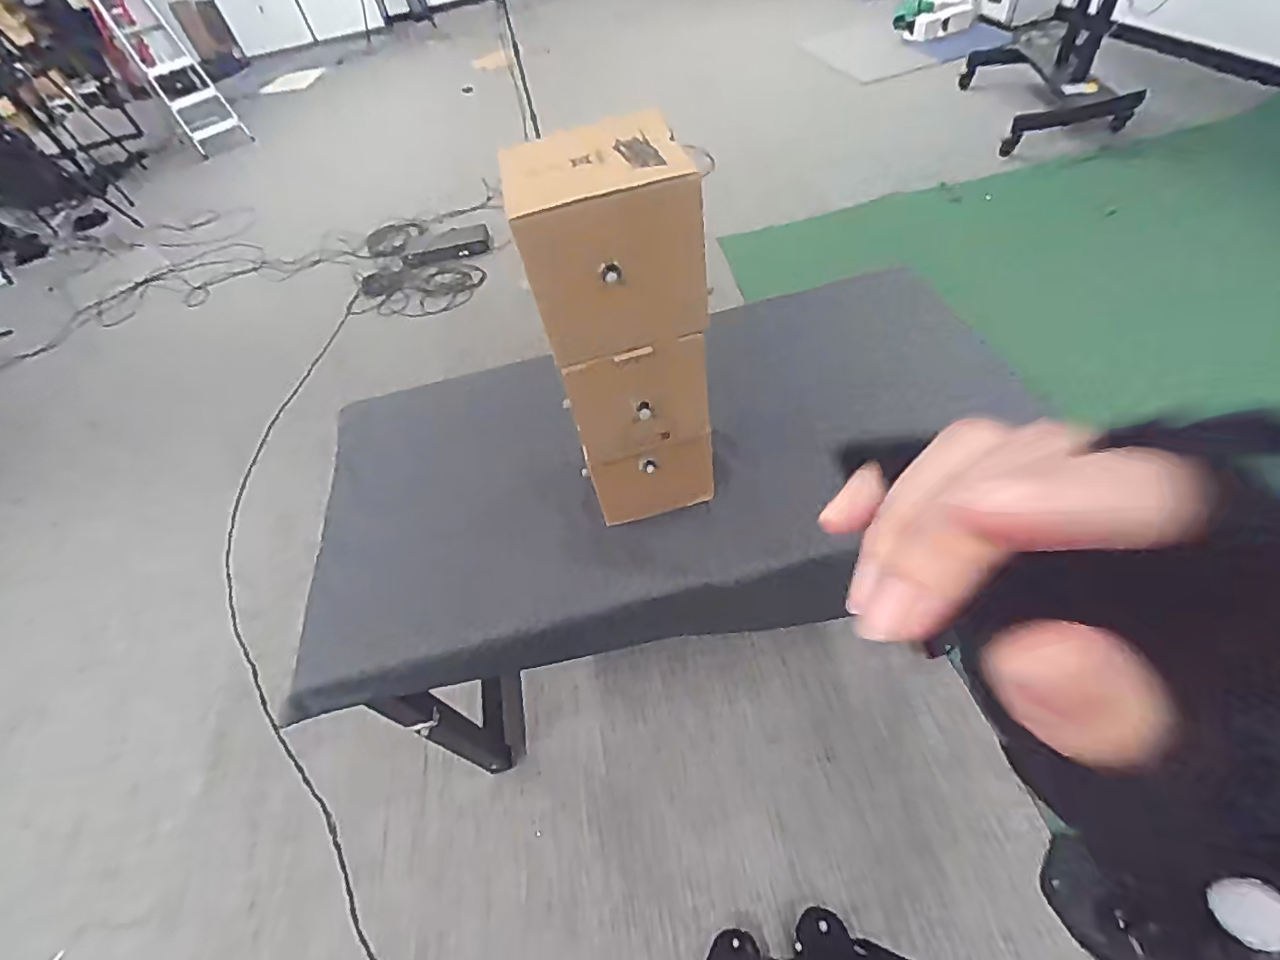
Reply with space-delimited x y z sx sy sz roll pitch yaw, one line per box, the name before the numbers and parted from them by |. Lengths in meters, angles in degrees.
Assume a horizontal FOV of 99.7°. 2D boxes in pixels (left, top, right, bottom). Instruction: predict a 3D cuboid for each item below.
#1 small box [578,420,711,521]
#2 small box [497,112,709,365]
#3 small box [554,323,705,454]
small box | 0.003 -0.058 0.836 0.179 0.176 0.168 -14 52 -3
small box | -0.035 -0.251 0.573 0.179 0.176 0.168 -16 52 -4
small box | -0.018 -0.153 0.704 0.168 0.176 0.179 -15 52 -2
